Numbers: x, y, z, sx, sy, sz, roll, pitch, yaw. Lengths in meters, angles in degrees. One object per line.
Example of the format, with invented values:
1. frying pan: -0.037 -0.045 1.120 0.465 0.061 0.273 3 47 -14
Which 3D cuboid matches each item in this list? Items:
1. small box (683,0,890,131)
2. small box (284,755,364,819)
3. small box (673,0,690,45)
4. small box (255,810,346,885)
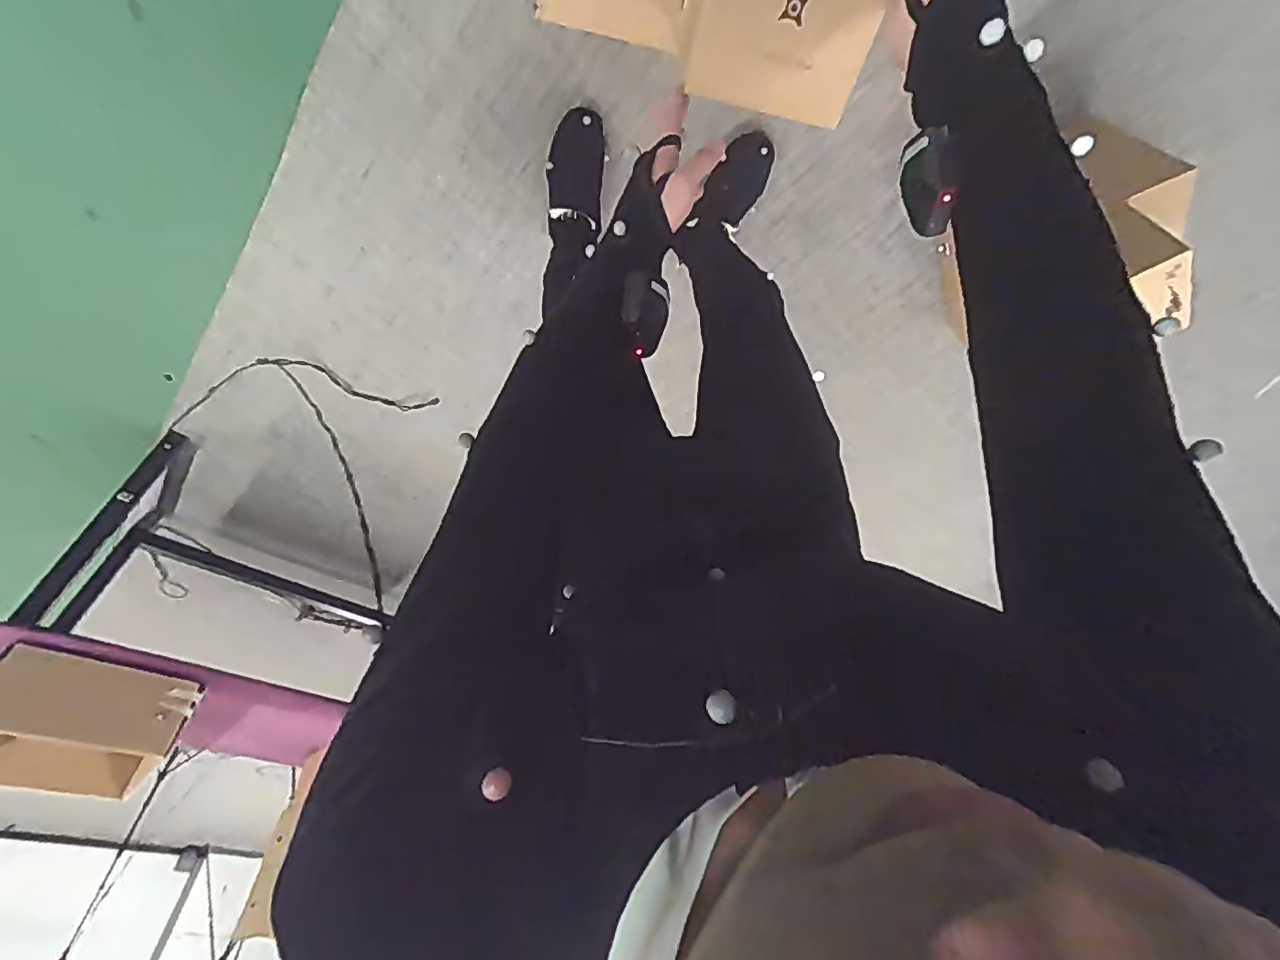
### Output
1. small box: 0.141 -0.489 0.537 0.168 0.176 0.179 9 138 -8
2. small box: -1.062 1.047 1.829 0.168 0.176 0.179 31 130 -29
3. small box: 0.143 -0.615 0.641 0.179 0.176 0.168 8 137 -7
4. small box: -1.069 1.166 1.715 0.179 0.176 0.168 -33 128 30
